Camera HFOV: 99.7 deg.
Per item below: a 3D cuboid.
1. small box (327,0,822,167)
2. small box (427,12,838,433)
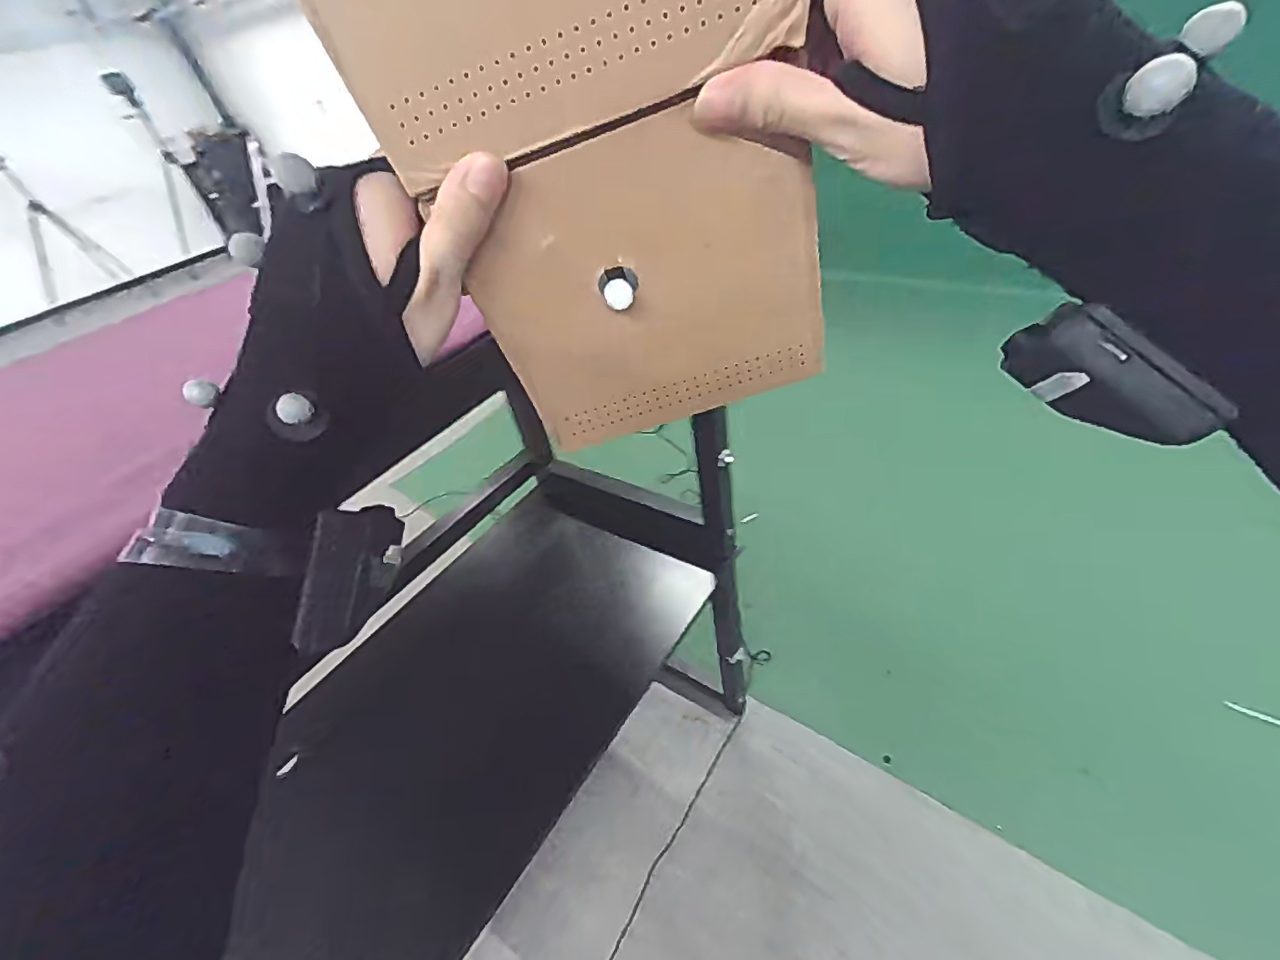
[{"bbox_3d":[-0.041,-0.256,0.212,0.179,0.176,0.168,-14,47,12],"label":"small box"},{"bbox_3d":[0.006,-0.155,0.332,0.179,0.176,0.168,-17,46,10],"label":"small box"}]
